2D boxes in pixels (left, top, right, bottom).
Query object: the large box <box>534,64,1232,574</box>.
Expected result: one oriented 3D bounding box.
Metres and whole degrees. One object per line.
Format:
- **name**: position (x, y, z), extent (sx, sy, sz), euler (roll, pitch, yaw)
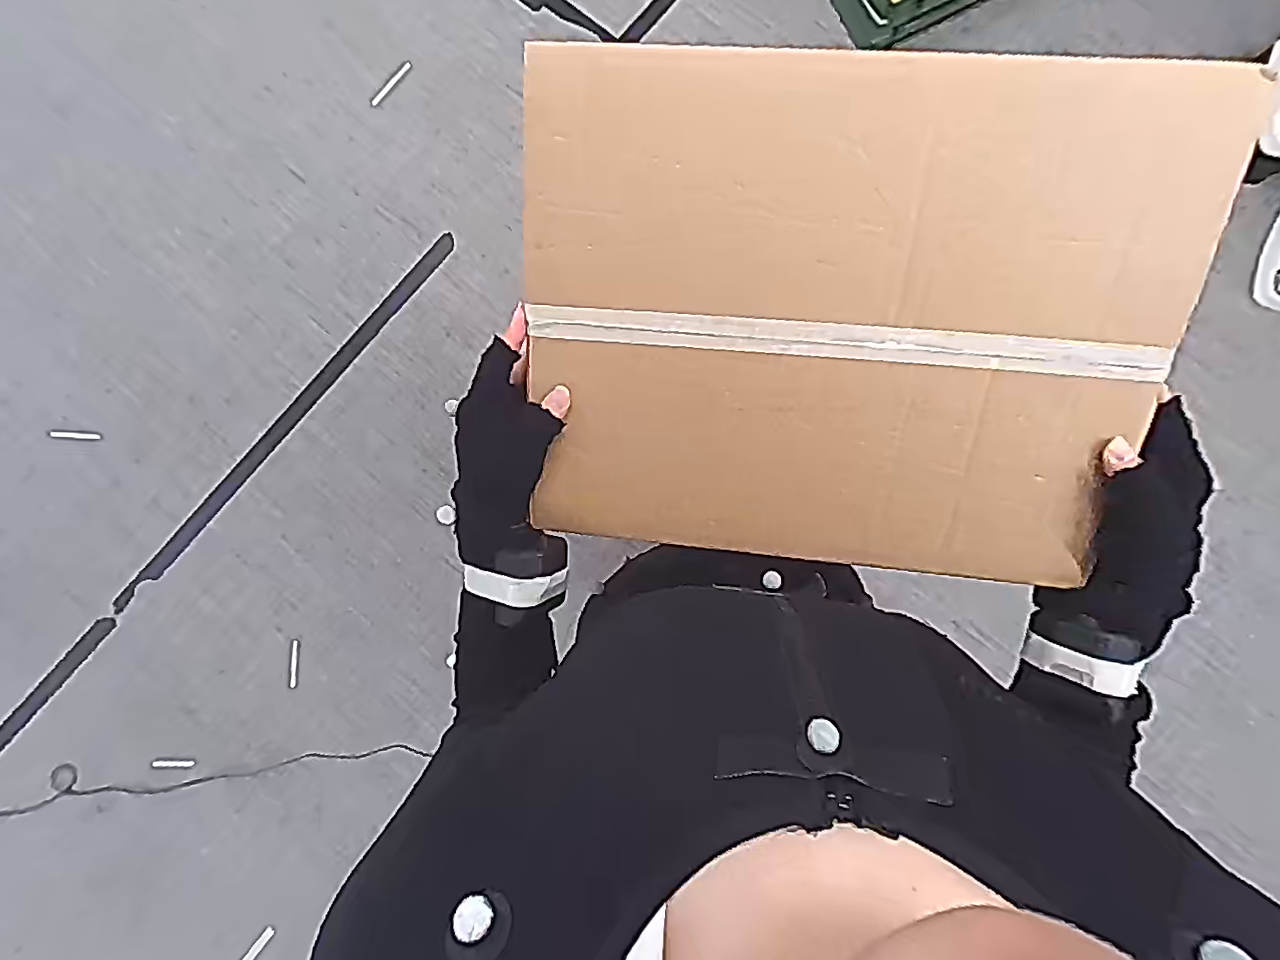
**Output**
- **large box**: position (0.137, -0.138, 0.502), extent (0.408, 0.320, 0.320), euler (6, 110, 5)
